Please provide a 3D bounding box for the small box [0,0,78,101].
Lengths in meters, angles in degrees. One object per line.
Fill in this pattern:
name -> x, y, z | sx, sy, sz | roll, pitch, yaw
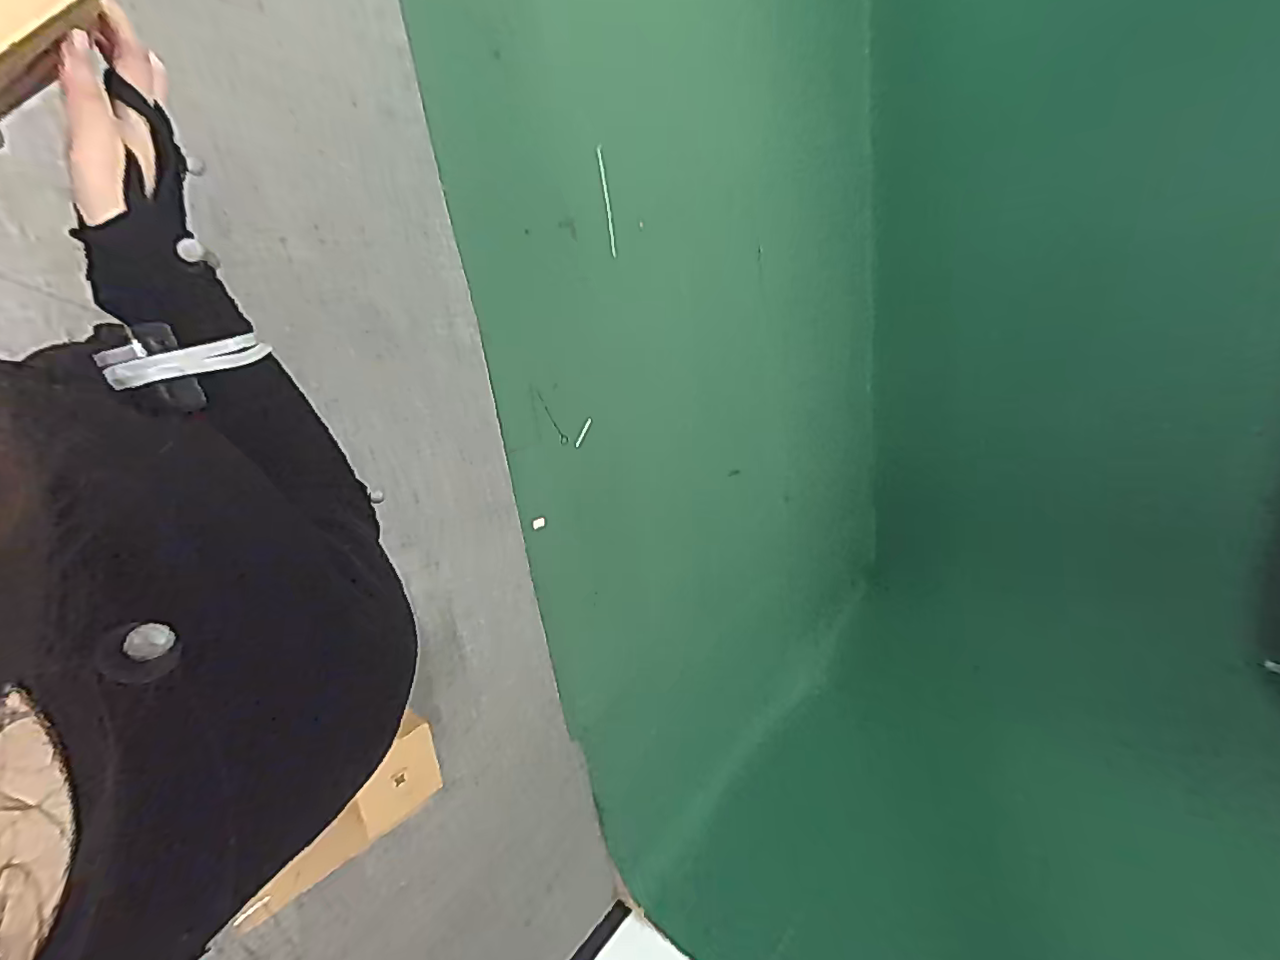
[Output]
small box -> -0.401, -0.248, 0.231 | 0.179, 0.176, 0.168 | -55, 138, -13

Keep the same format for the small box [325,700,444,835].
small box -> -0.557, 0.607, 1.176 | 0.168, 0.176, 0.179 | -21, 113, -44
